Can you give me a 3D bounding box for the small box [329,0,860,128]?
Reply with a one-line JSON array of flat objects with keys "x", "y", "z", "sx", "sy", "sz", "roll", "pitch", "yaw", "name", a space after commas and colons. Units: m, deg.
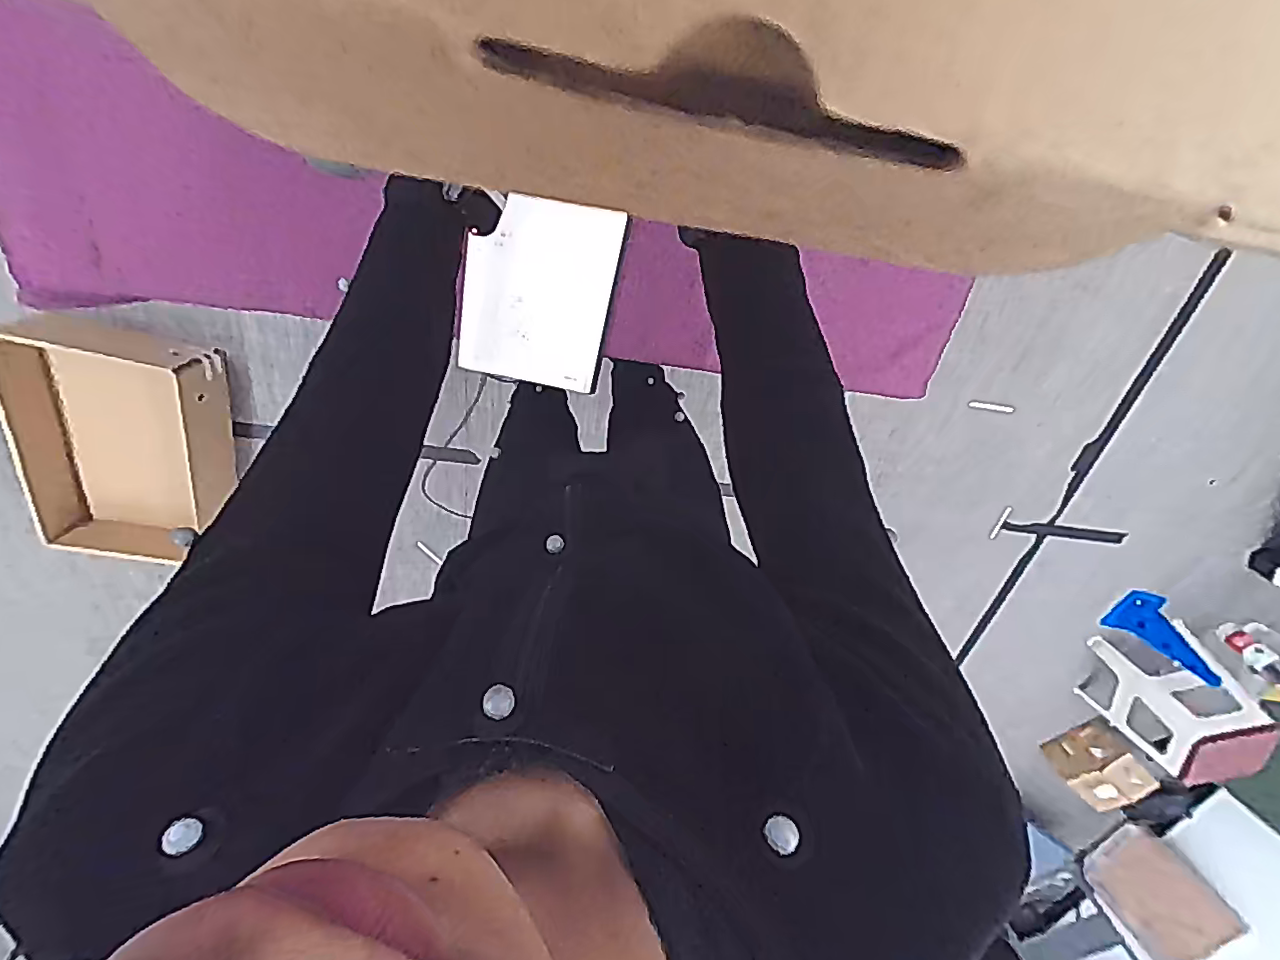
[{"x": -0.010, "y": -0.246, "z": 0.195, "sx": 0.168, "sy": 0.176, "sz": 0.179, "roll": 3, "pitch": 125, "yaw": -8, "name": "small box"}]
